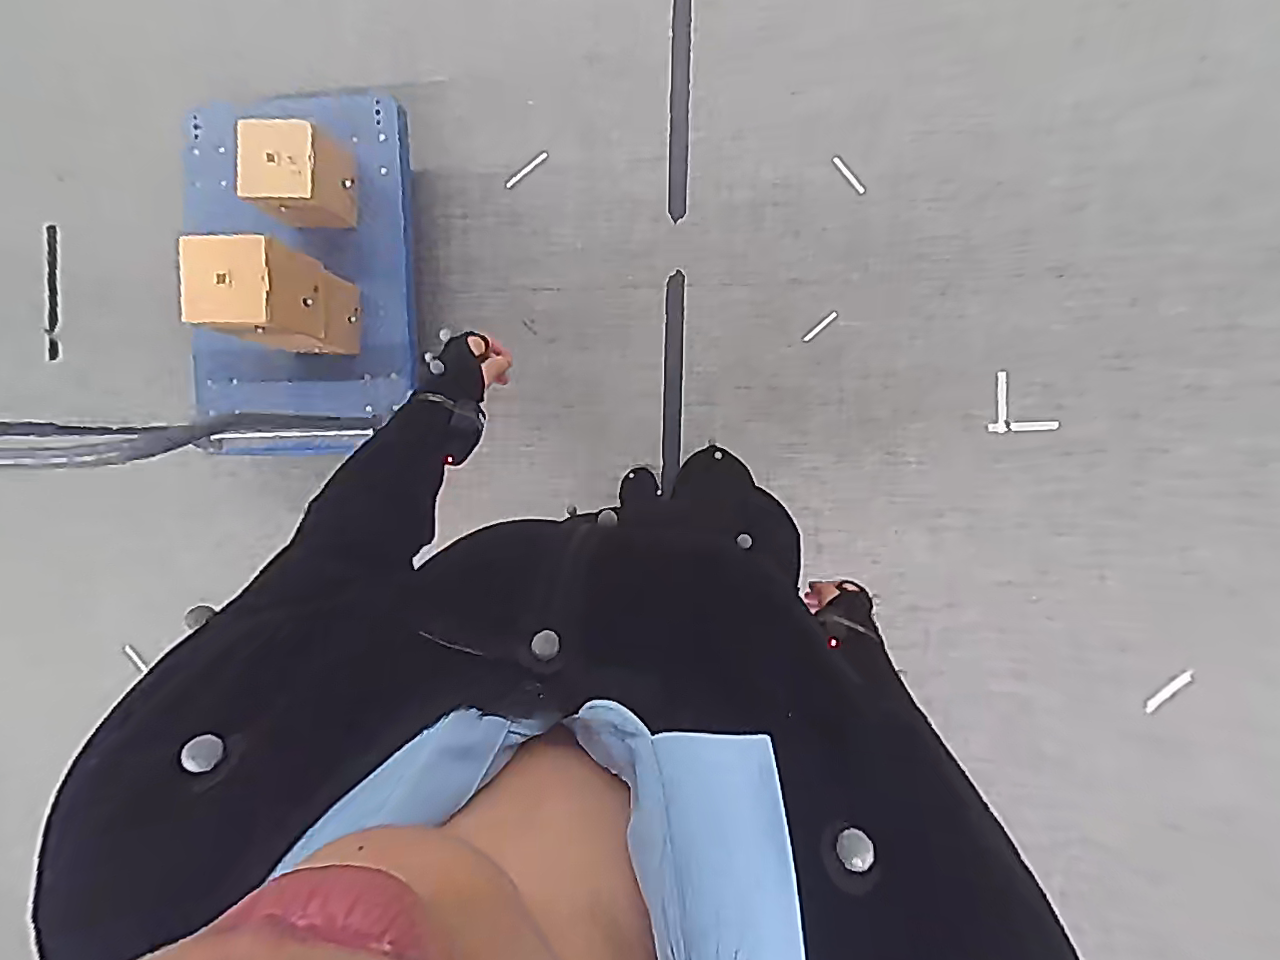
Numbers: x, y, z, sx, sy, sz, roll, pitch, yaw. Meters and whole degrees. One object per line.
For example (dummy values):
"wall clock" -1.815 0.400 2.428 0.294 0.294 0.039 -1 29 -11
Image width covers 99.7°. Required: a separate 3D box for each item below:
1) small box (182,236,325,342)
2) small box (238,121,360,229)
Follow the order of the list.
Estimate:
"small box" -0.779 -0.380 1.102 0.179 0.176 0.168 1 93 3
"small box" -0.783 -0.695 1.250 0.179 0.176 0.168 3 94 4
